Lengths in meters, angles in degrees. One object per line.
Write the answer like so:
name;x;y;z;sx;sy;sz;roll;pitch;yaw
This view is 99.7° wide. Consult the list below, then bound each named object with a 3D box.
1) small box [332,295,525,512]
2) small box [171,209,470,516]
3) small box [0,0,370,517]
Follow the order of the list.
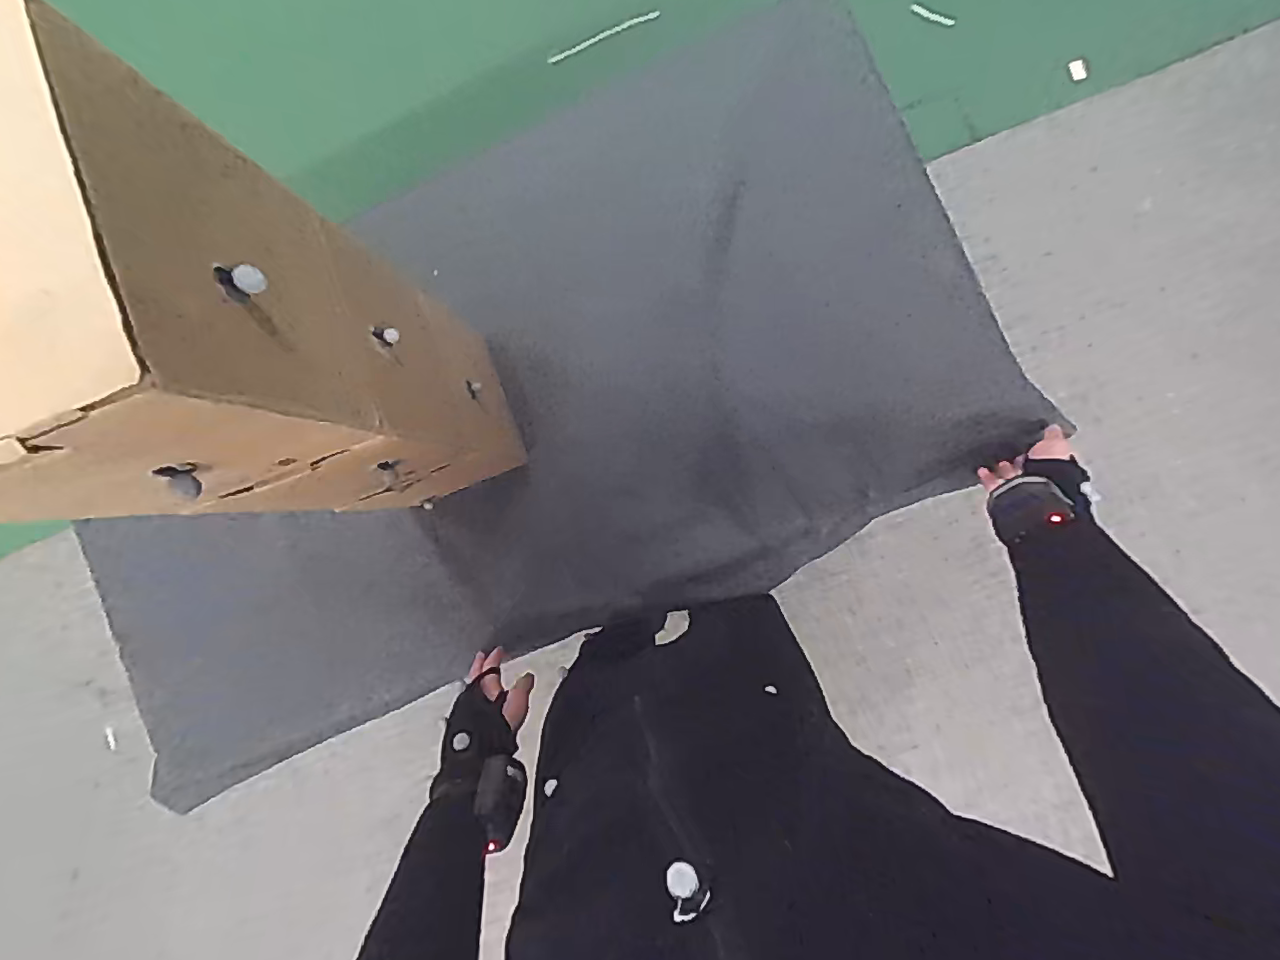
small box;-0.251;-0.075;0.617;0.168;0.176;0.179;-21;86;5
small box;-0.269;-0.080;0.456;0.168;0.176;0.179;-20;86;4
small box;-0.283;-0.085;0.293;0.168;0.176;0.179;-20;88;3
